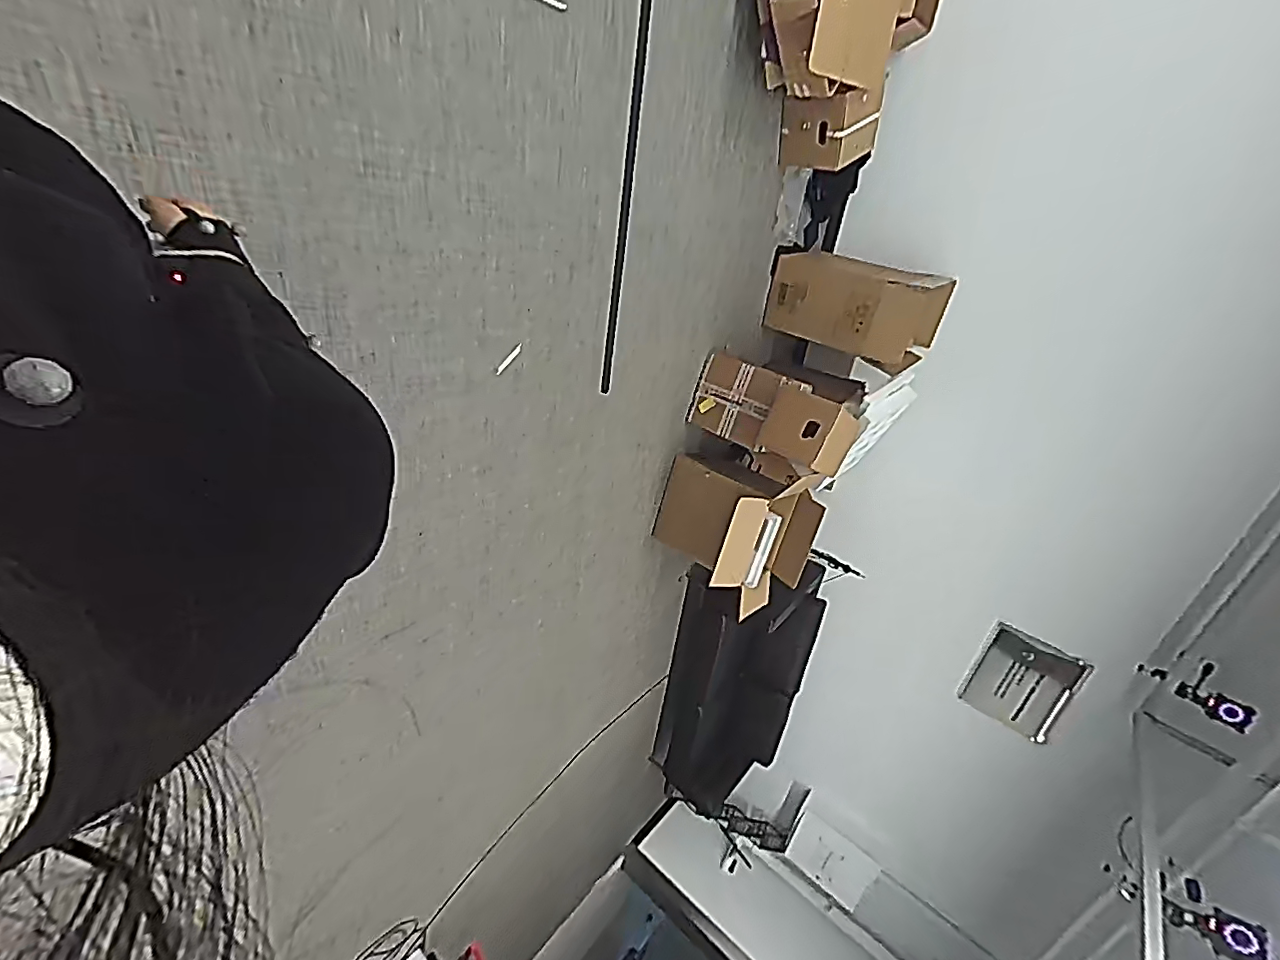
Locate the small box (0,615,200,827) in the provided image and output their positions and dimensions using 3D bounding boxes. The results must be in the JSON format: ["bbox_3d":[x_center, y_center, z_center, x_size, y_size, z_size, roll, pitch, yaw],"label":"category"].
[{"bbox_3d":[-0.742,0.310,0.741,0.168,0.176,0.179,-18,127,-49],"label":"small box"}]
